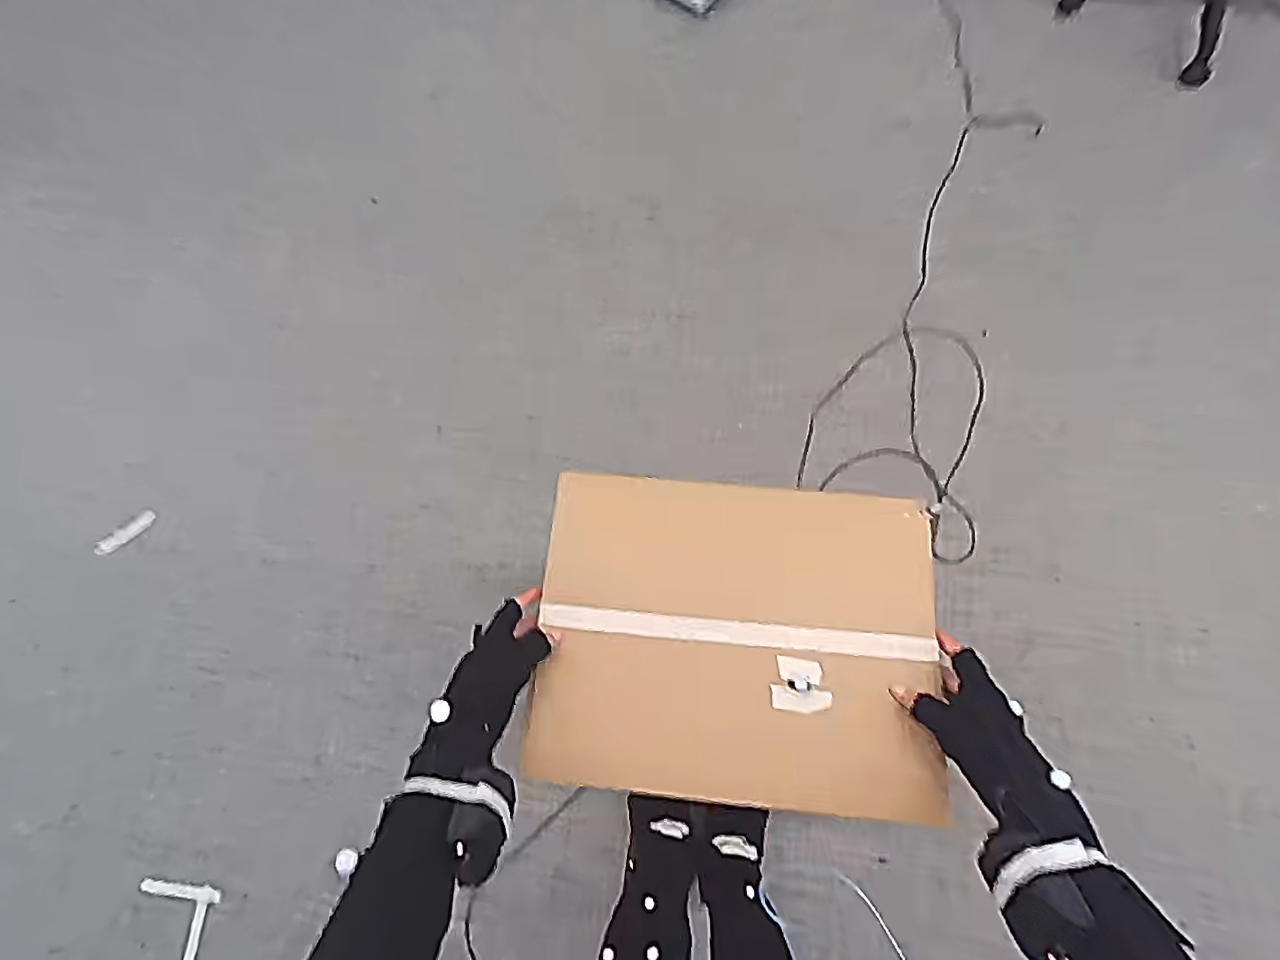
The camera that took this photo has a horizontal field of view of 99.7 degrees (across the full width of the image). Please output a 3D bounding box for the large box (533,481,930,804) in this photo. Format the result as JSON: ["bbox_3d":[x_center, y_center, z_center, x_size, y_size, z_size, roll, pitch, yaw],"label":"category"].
[{"bbox_3d":[0.103,0.203,0.723,0.408,0.320,0.320,4,74,4],"label":"large box"}]
